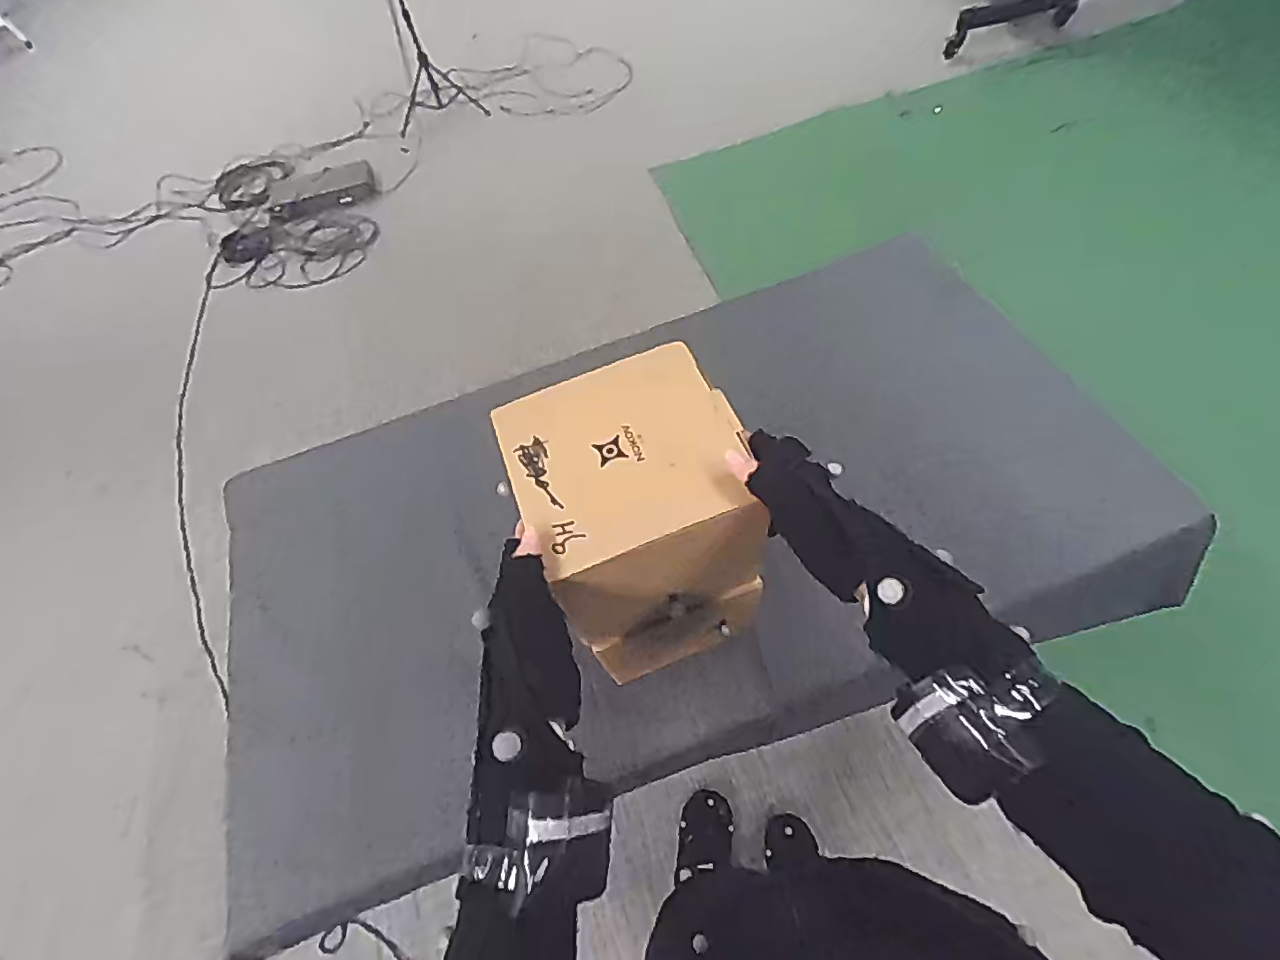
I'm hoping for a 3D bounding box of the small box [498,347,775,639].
[{"bbox_3d":[-0.004,0.018,0.481,0.179,0.176,0.168,-20,57,-7],"label":"small box"}]

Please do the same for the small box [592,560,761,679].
[{"bbox_3d":[0.018,0.107,0.622,0.179,0.176,0.168,-22,59,-5],"label":"small box"}]
